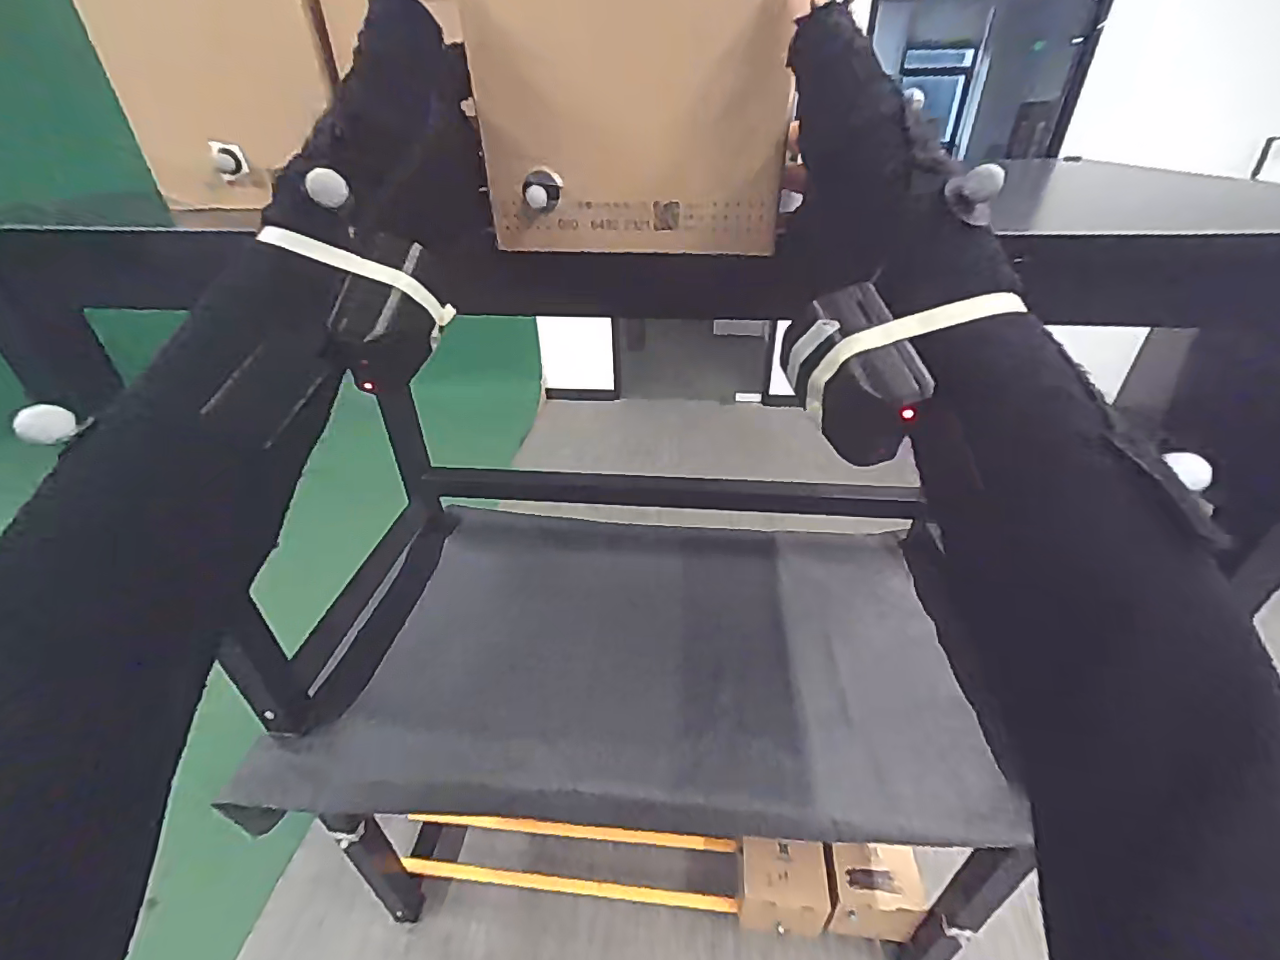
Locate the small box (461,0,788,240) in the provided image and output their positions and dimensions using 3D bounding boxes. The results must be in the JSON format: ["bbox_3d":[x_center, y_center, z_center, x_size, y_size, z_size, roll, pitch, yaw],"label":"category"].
[{"bbox_3d":[0.004,-0.254,0.340,0.168,0.176,0.179,5,34,9],"label":"small box"}]
